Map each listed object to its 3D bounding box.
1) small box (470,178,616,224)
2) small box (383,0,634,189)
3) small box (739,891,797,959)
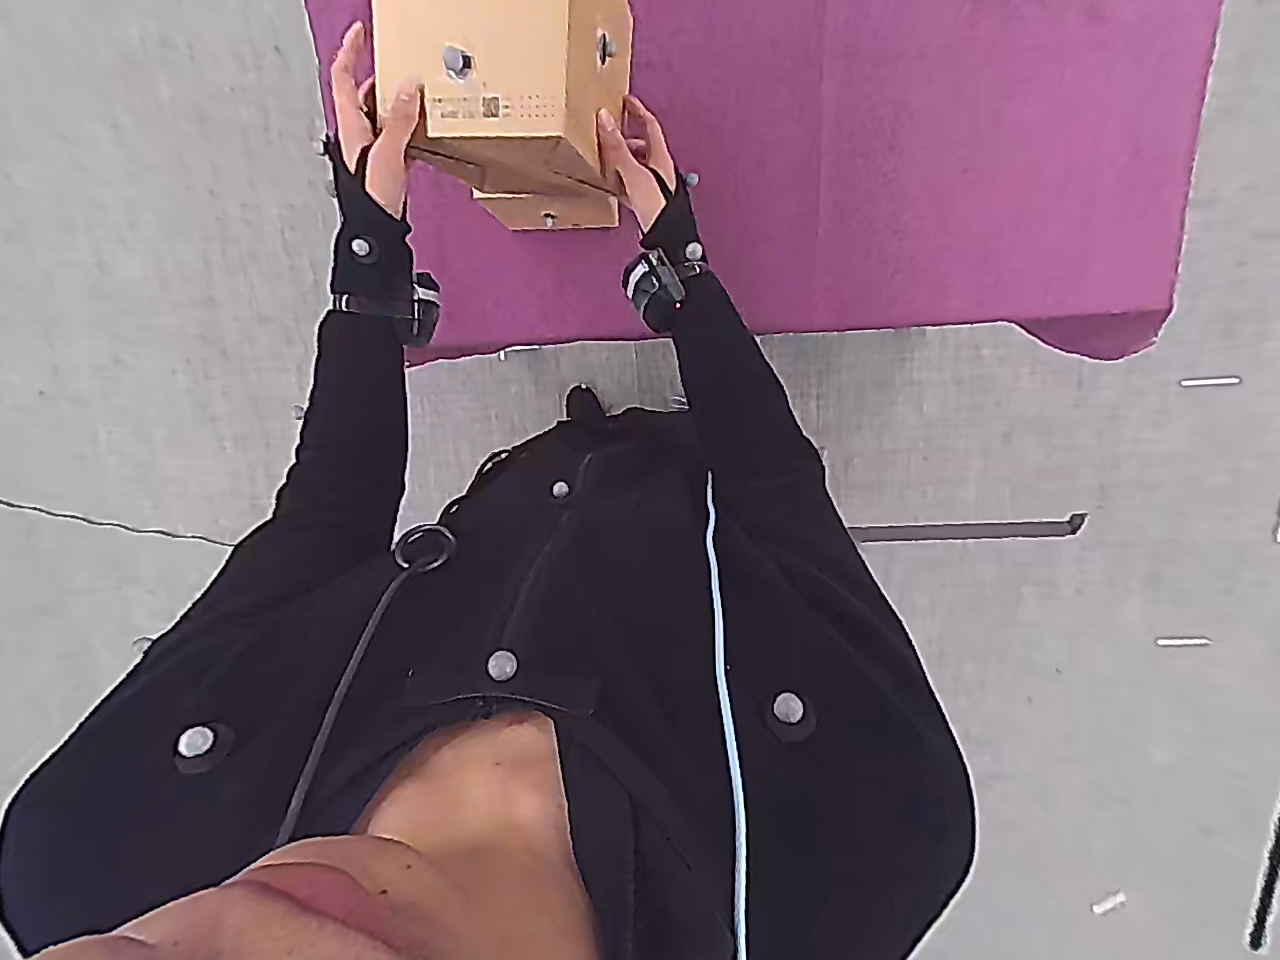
[{"bbox_3d":[-0.119,-0.443,0.707,0.168,0.176,0.179,0,103,1],"label":"small box"},{"bbox_3d":[-0.111,-0.372,0.486,0.168,0.179,0.176,8,106,13],"label":"small box"},{"bbox_3d":[0.446,1.593,1.907,0.179,0.176,0.168,-4,102,2],"label":"small box"}]
